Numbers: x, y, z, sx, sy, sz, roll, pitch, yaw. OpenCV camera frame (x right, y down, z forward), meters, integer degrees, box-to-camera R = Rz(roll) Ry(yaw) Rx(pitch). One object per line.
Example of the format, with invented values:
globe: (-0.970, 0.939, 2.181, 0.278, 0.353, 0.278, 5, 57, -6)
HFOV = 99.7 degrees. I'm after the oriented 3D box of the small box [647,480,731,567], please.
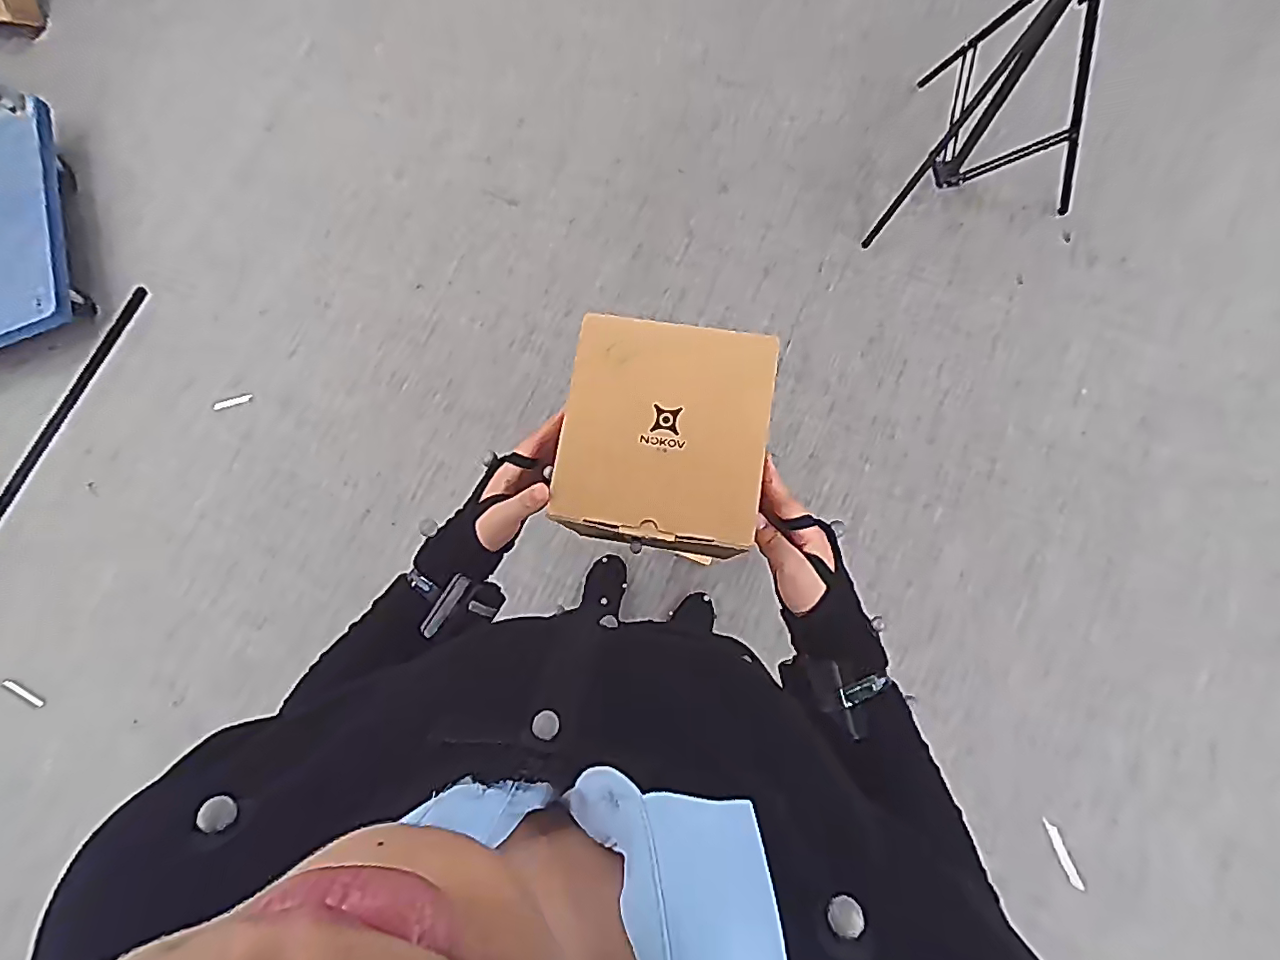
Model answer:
small box: (0.131, 0.122, 1.432, 0.168, 0.176, 0.179, 22, 81, 8)
